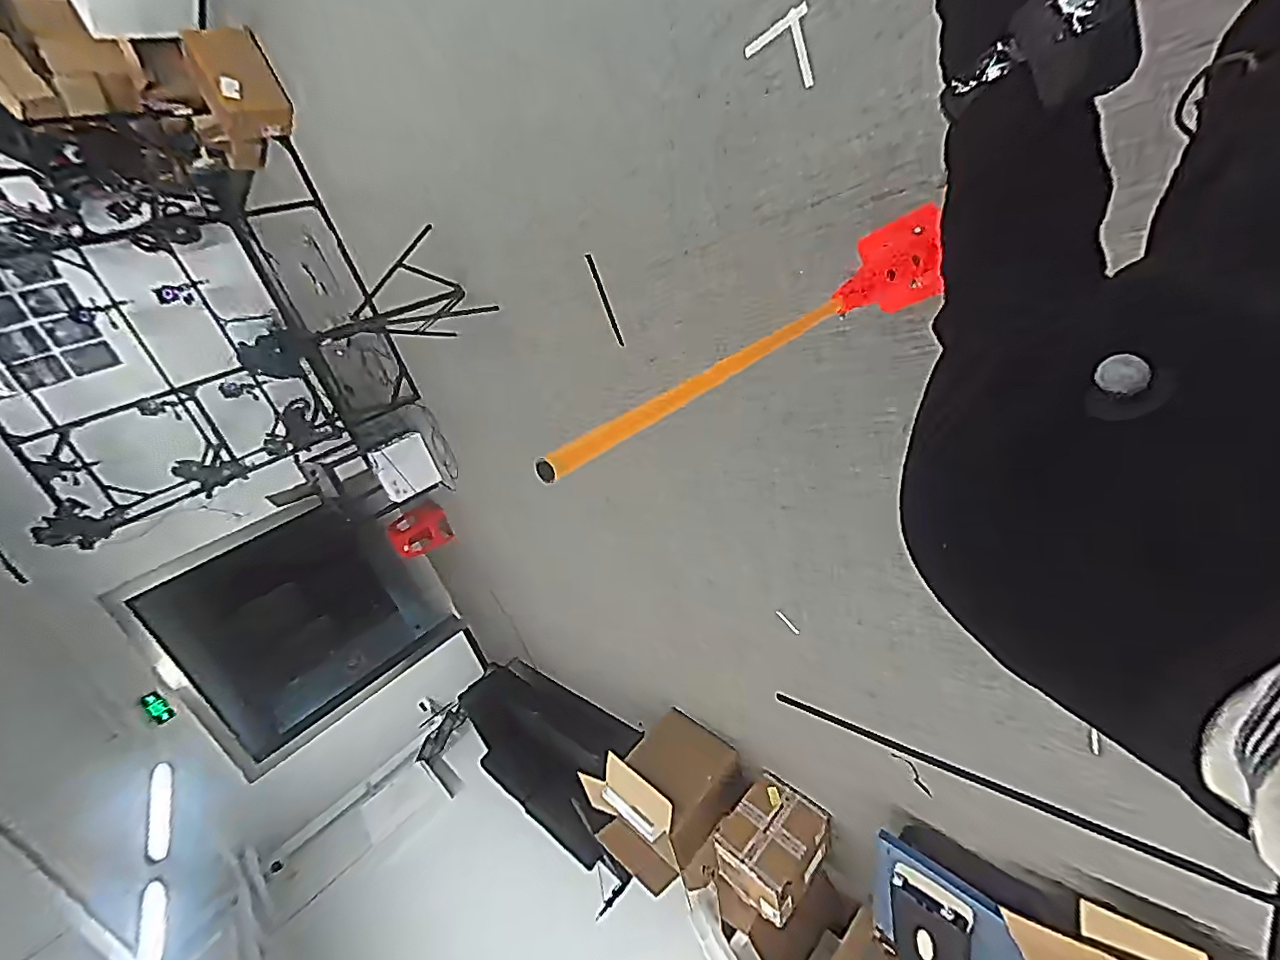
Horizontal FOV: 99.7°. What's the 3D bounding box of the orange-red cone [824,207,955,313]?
[{"bbox_3d":[0.516,-0.441,1.204,0.199,0.360,0.198,-7,112,55],"label":"orange-red cone"}]
